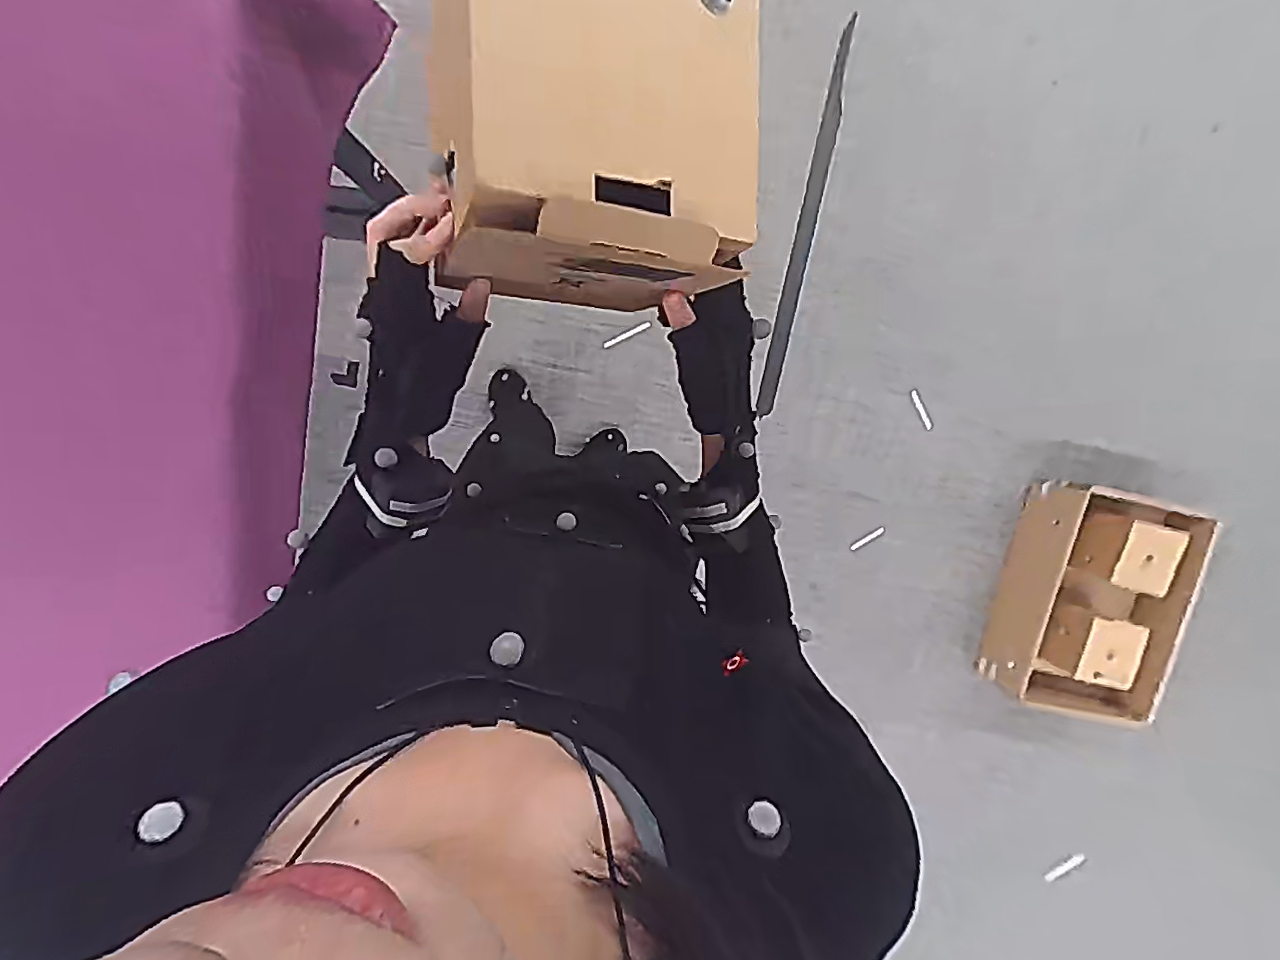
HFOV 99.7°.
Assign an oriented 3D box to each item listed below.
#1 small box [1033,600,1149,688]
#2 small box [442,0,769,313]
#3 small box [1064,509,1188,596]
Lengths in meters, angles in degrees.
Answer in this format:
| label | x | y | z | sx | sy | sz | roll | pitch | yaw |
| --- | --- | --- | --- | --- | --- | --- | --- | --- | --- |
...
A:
| label | x | y | z | sx | sy | sz | roll | pitch | yaw |
| --- | --- | --- | --- | --- | --- | --- | --- | --- | --- |
| small box | 1.252 | 0.451 | 1.515 | 0.168 | 0.176 | 0.179 | 12 | 94 | -4 |
| small box | -0.034 | -0.226 | 0.358 | 0.168 | 0.179 | 0.176 | 1 | 91 | -27 |
| small box | 1.322 | 0.194 | 1.486 | 0.168 | 0.176 | 0.179 | 15 | 96 | -5 |
